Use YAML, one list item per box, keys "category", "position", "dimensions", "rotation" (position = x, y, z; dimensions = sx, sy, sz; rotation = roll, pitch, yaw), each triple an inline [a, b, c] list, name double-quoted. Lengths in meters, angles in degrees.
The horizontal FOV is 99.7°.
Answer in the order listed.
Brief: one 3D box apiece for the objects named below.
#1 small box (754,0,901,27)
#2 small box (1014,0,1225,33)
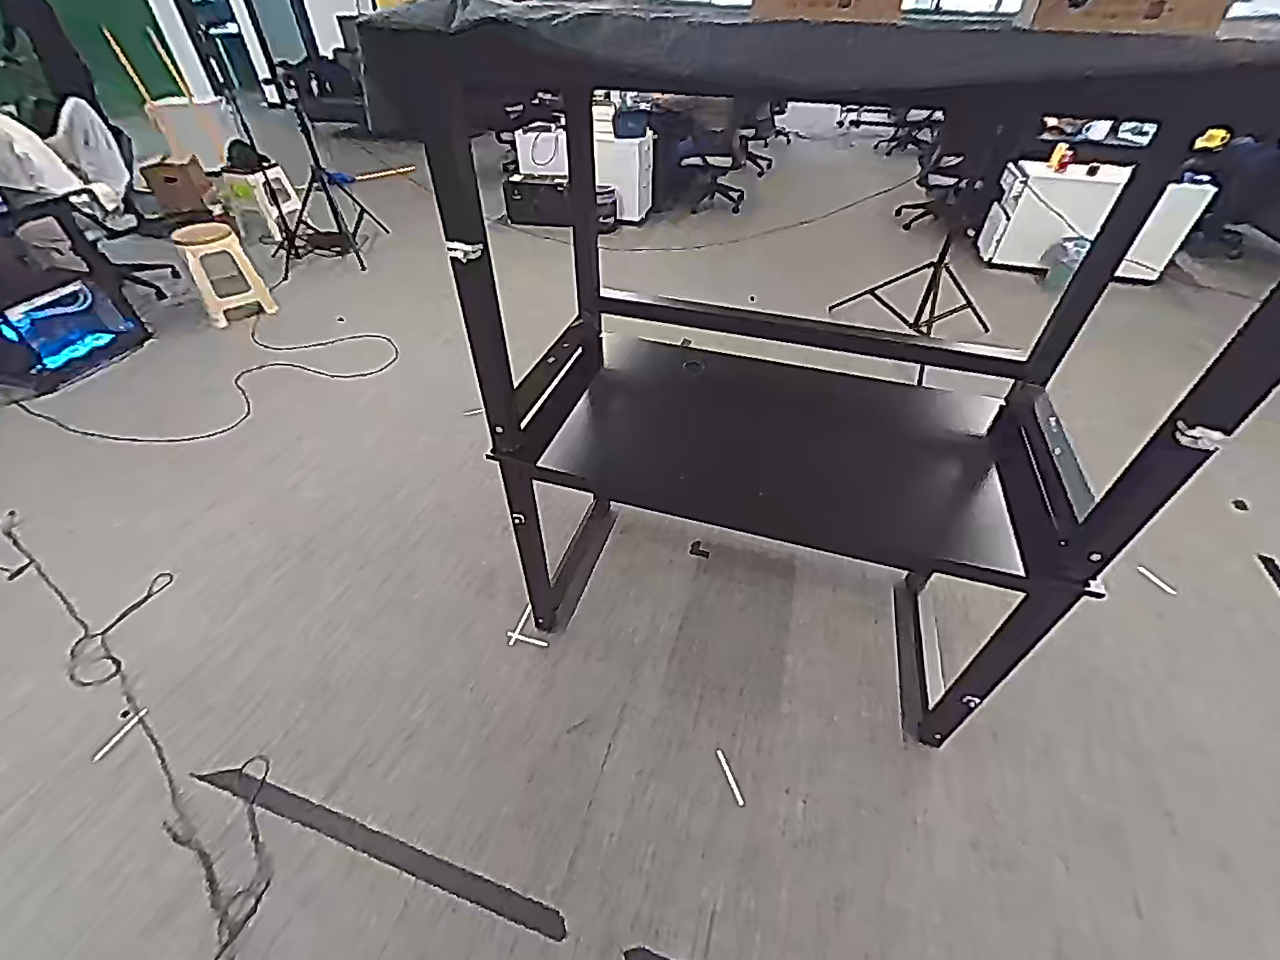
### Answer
- category: "small box"
  position: [0.232, -0.635, 0.619]
  dimensions: [0.168, 0.176, 0.179]
  rotation: [12, 42, 13]
- category: "small box"
  position: [0.519, -0.572, 0.557]
  dimensions: [0.168, 0.176, 0.179]
  rotation: [15, 43, 16]
